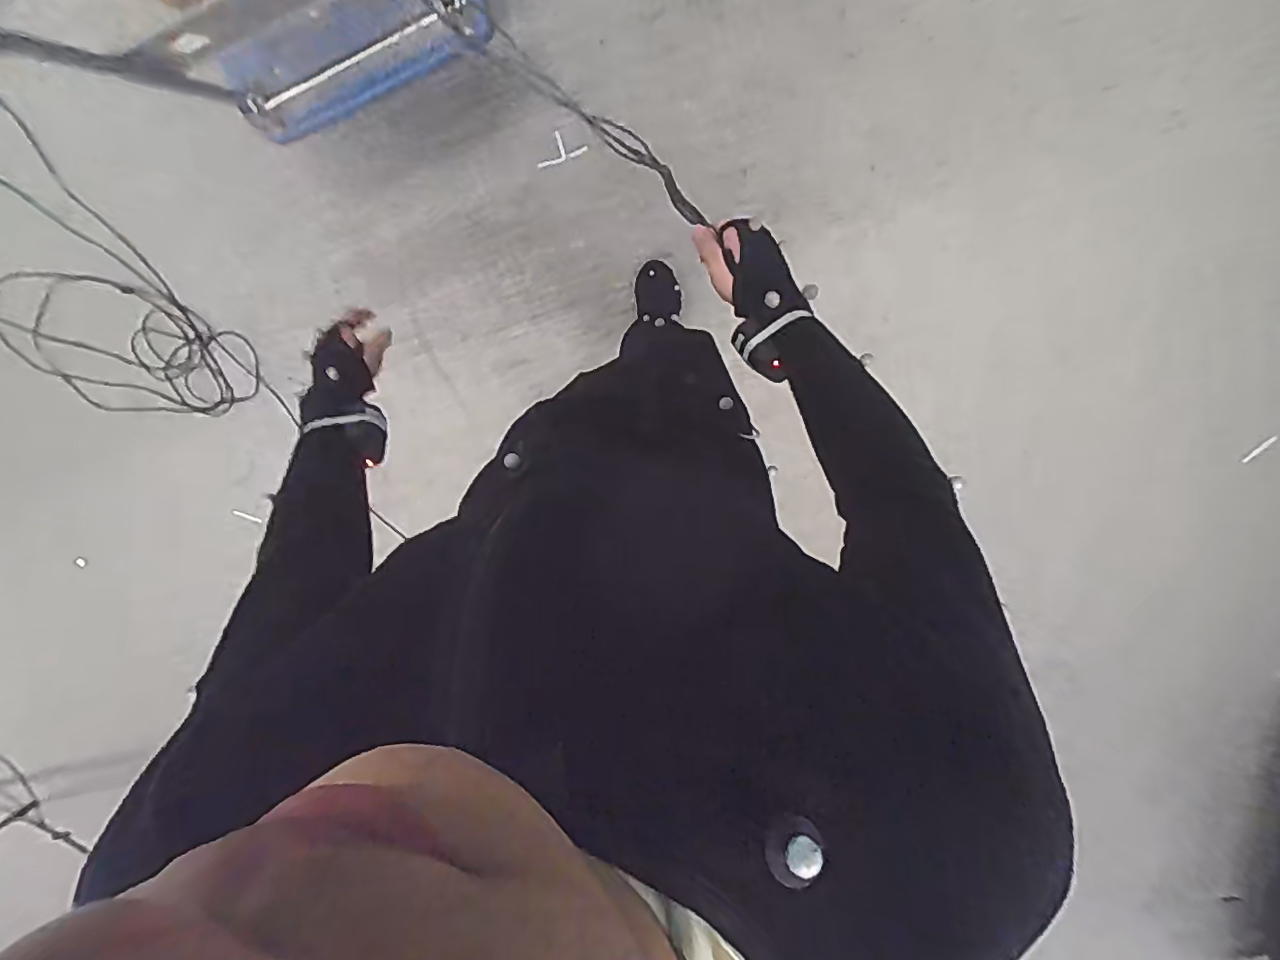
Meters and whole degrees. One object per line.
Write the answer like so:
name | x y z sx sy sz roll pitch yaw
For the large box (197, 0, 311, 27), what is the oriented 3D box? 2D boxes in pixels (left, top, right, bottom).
large box | -0.709 -1.062 0.860 0.320 0.320 0.408 -15 113 10
